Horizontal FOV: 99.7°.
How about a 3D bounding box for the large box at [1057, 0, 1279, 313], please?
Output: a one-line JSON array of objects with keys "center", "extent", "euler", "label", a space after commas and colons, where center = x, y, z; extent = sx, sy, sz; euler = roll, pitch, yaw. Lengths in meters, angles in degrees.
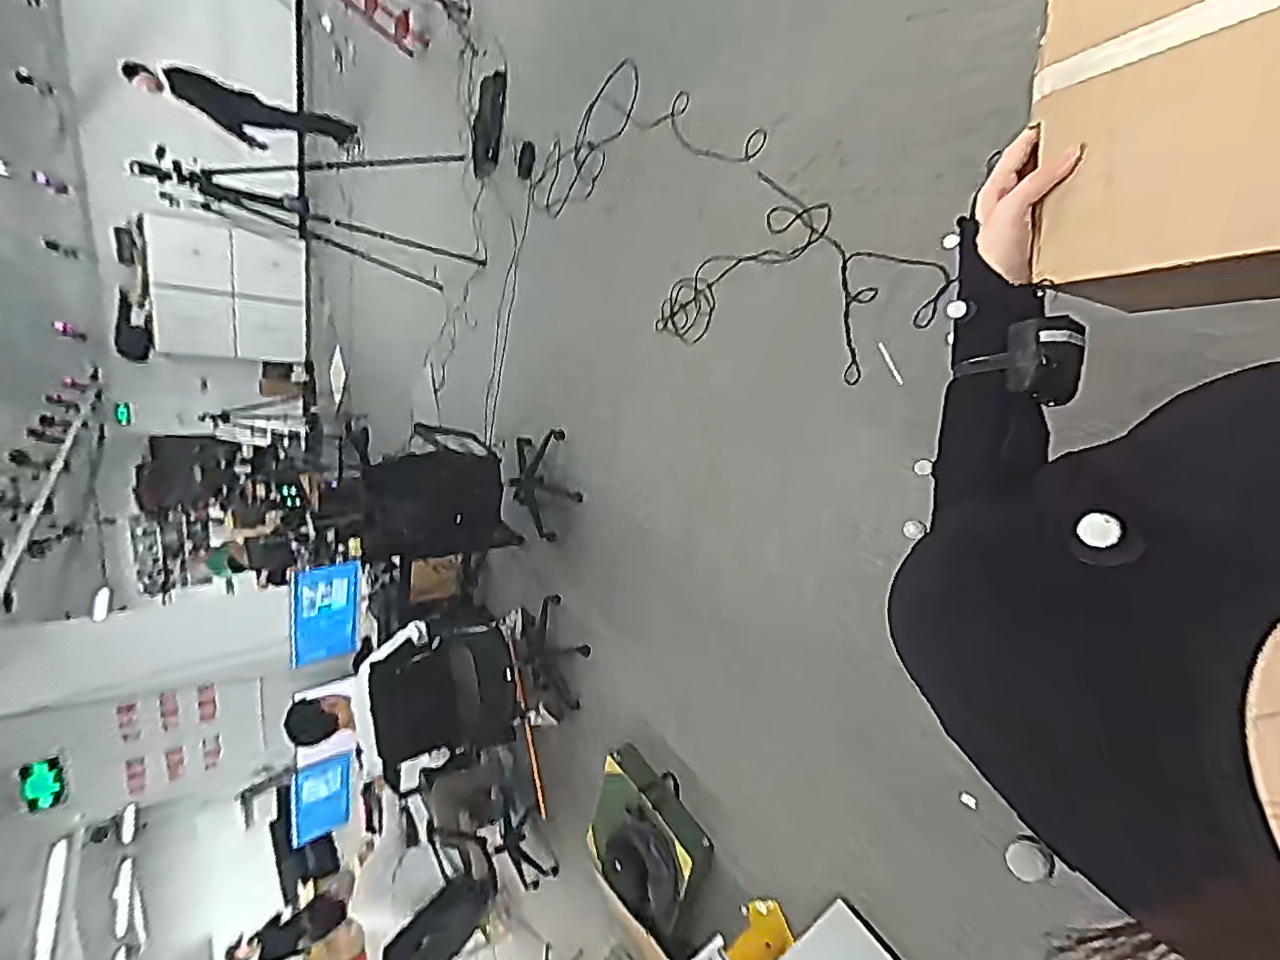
[{"center": [0.574, -0.312, 0.362], "extent": [0.408, 0.320, 0.320], "euler": [9, 103, 51], "label": "large box"}]
